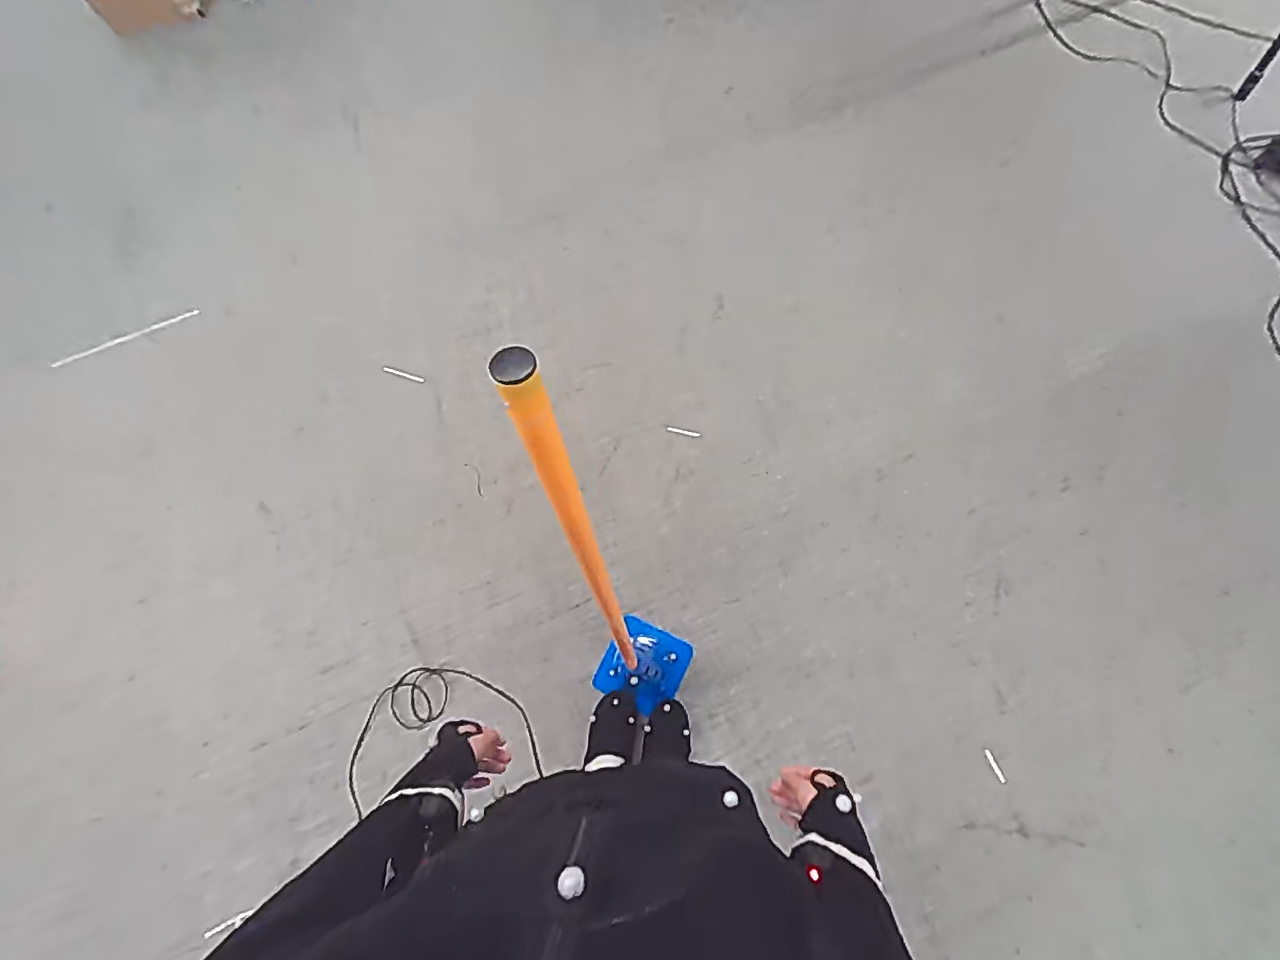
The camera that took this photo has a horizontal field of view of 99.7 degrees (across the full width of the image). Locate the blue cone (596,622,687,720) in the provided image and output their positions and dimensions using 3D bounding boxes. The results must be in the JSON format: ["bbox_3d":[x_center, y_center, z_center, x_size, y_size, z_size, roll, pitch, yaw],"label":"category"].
[{"bbox_3d":[-0.006,0.402,1.164,0.192,0.380,0.193,23,72,11],"label":"blue cone"}]
